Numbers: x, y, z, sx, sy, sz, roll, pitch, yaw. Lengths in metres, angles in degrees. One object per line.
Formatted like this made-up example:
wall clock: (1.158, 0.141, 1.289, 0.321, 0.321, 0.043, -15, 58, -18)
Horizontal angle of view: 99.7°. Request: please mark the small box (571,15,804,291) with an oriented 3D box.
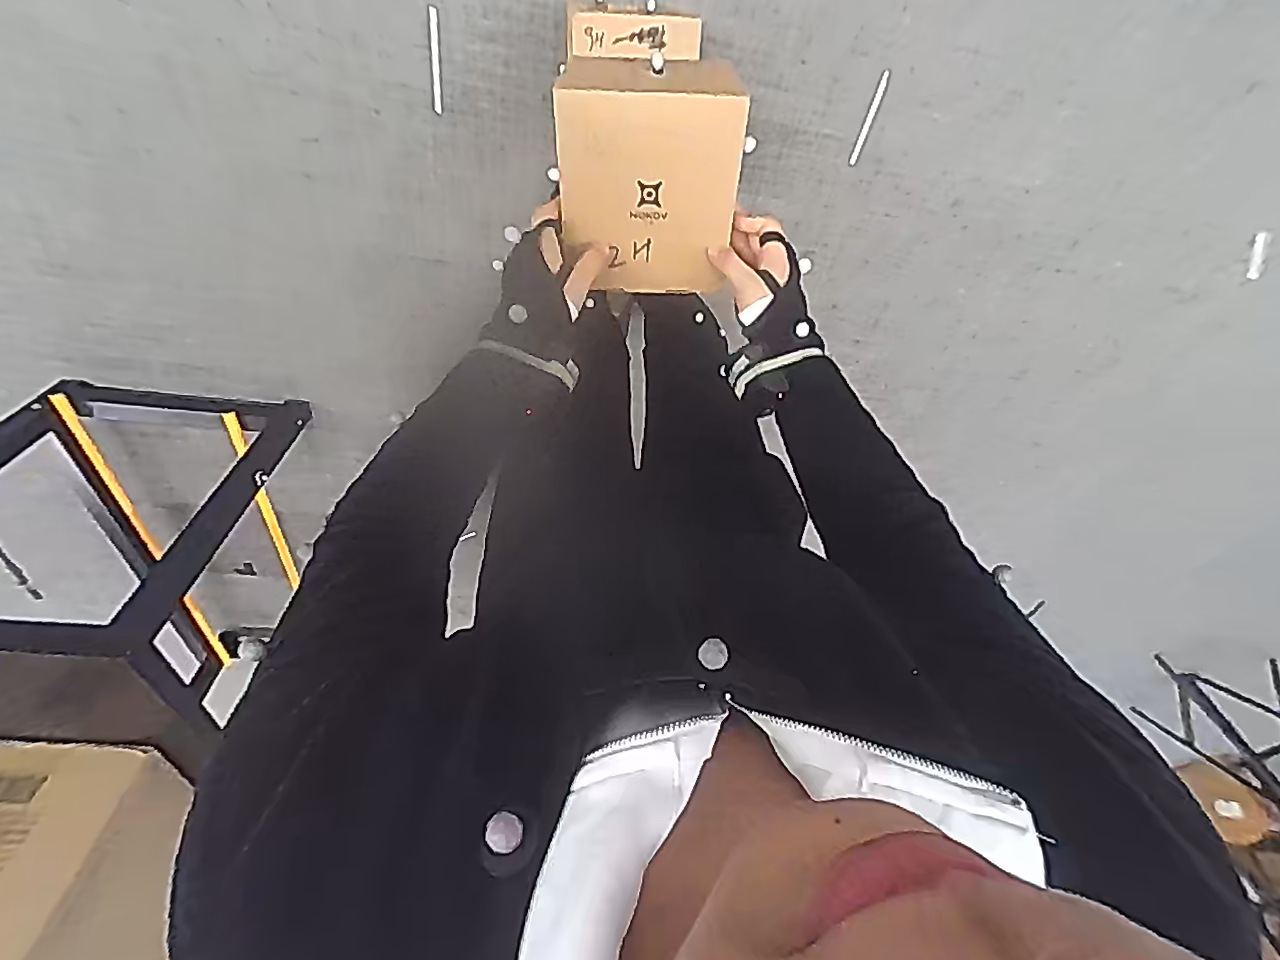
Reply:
small box: (0.028, -0.291, 0.481, 0.168, 0.176, 0.179, 1, 136, -2)
